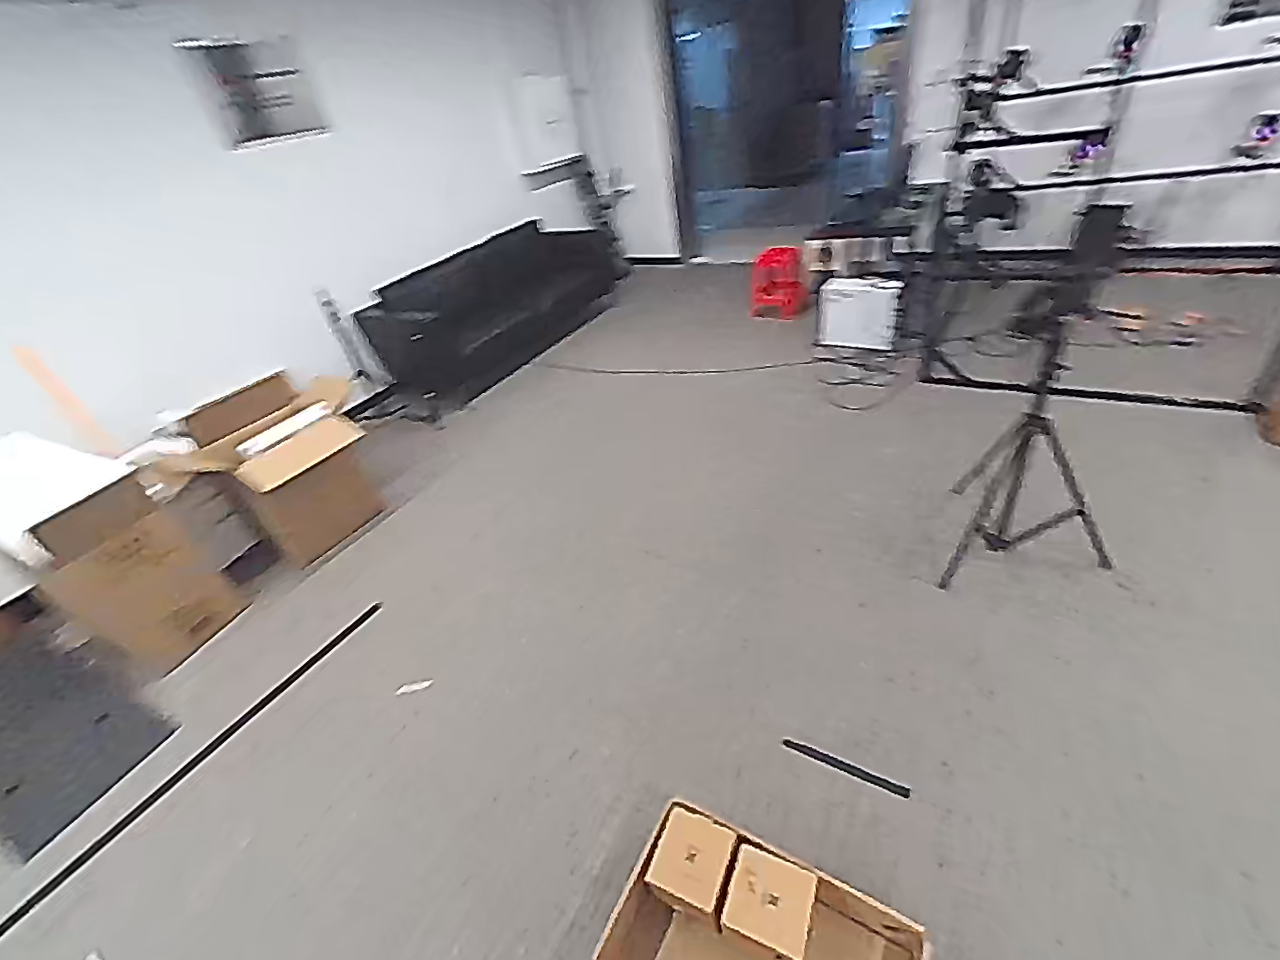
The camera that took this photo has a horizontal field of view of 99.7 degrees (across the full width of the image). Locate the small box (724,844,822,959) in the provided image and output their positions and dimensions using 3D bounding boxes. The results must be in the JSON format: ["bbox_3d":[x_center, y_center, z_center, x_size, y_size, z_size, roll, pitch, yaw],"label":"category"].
[{"bbox_3d":[0.304,0.976,1.225,0.179,0.176,0.168,9,41,26],"label":"small box"}]
